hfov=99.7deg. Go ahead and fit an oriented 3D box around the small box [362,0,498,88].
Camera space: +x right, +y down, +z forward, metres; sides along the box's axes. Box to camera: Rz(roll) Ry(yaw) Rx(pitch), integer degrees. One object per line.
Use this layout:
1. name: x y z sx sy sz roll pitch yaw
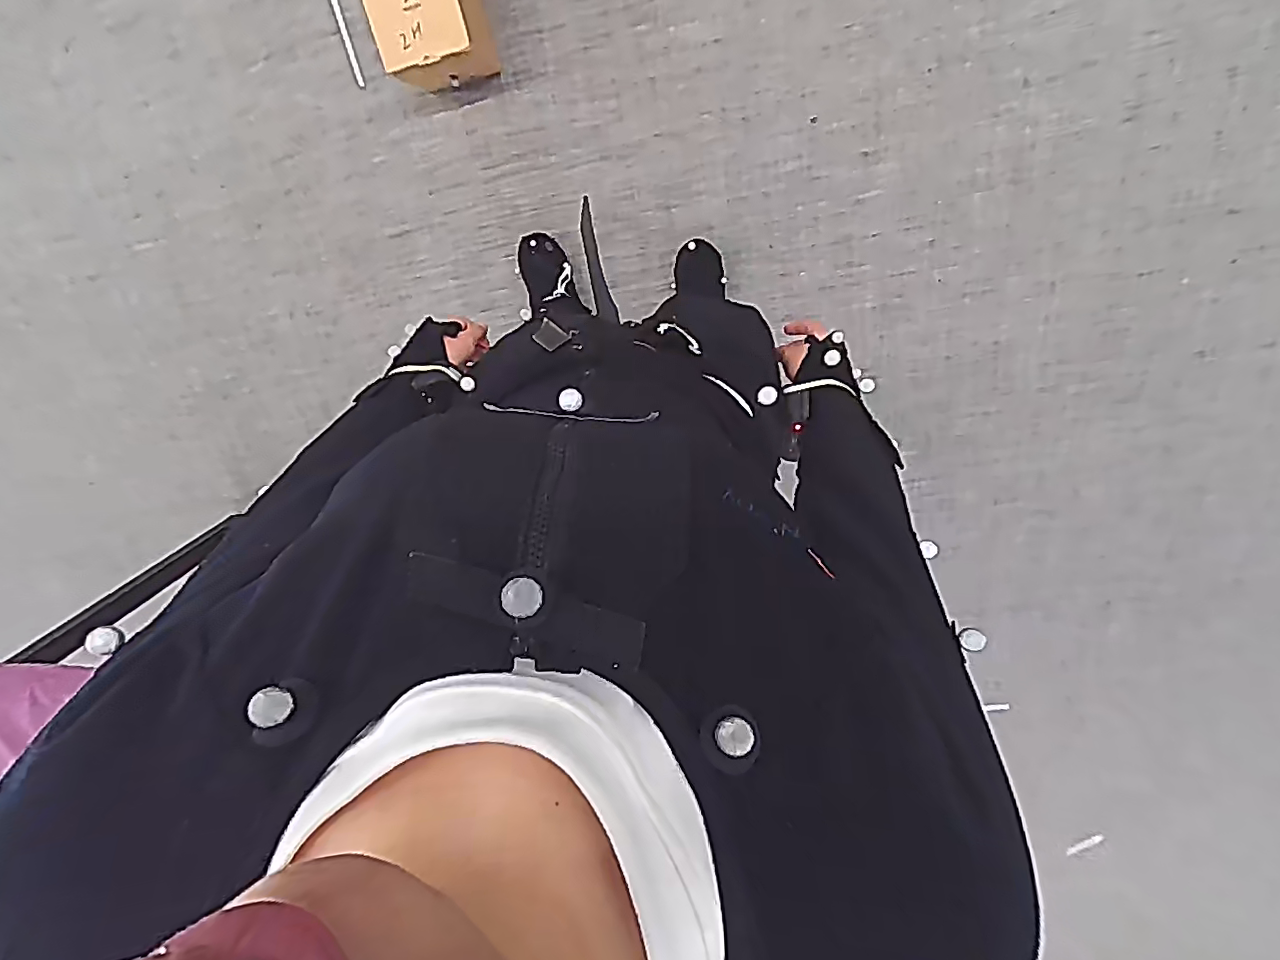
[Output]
1. small box: -0.379 -0.841 0.971 0.168 0.176 0.179 -8 115 10
